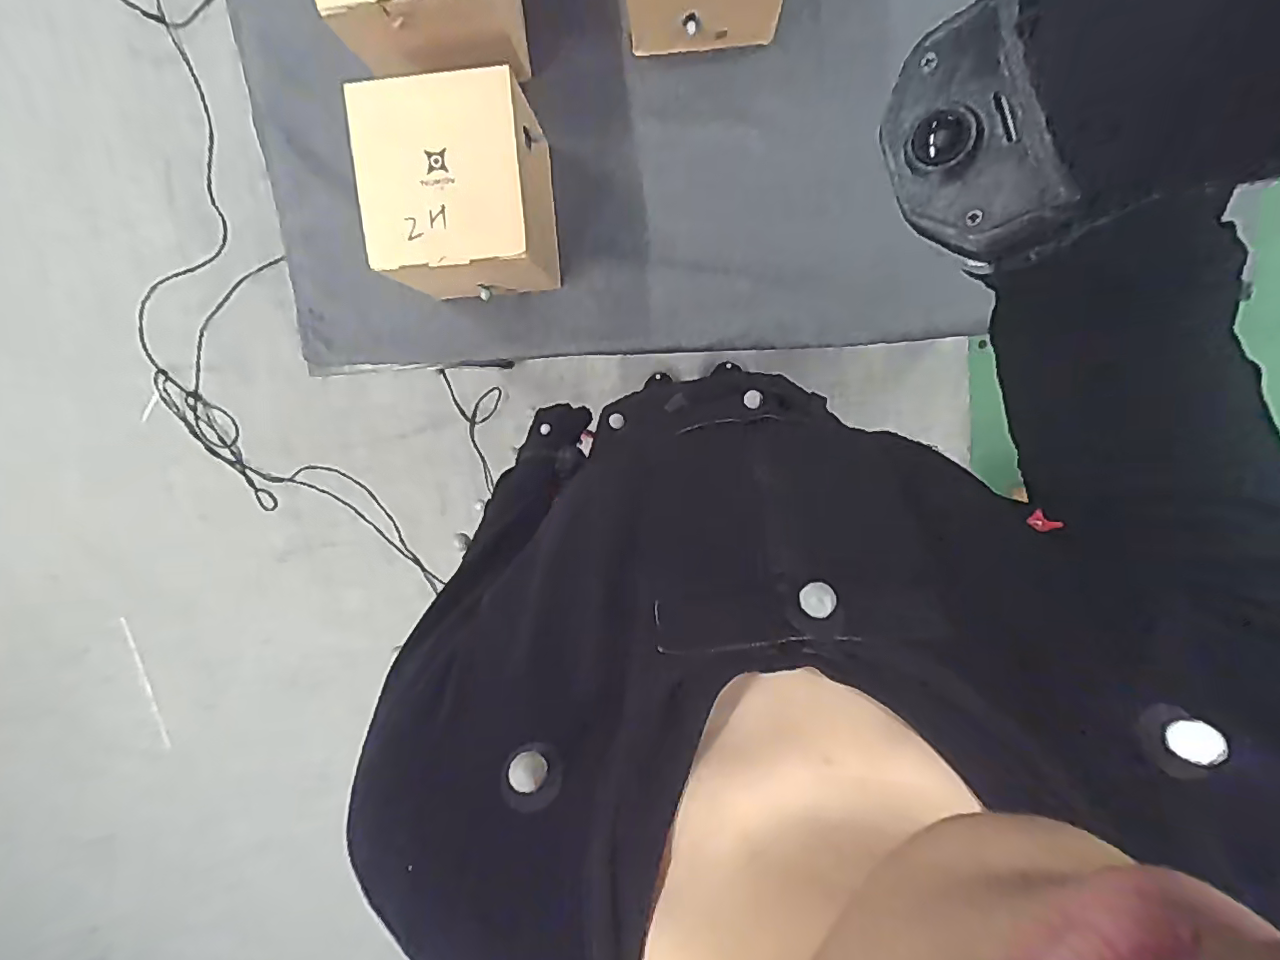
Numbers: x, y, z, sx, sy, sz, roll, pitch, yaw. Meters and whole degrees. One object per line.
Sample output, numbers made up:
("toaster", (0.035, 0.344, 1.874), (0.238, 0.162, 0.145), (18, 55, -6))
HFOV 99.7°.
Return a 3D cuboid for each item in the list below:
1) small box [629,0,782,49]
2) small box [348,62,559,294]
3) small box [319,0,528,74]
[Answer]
("small box", (0.066, -0.585, 0.545), (0.168, 0.176, 0.179), (-3, 102, 4))
("small box", (-0.193, -0.320, 0.608), (0.168, 0.176, 0.179), (-3, 100, 4))
("small box", (-0.224, -0.550, 0.565), (0.168, 0.176, 0.179), (-5, 100, 4))
